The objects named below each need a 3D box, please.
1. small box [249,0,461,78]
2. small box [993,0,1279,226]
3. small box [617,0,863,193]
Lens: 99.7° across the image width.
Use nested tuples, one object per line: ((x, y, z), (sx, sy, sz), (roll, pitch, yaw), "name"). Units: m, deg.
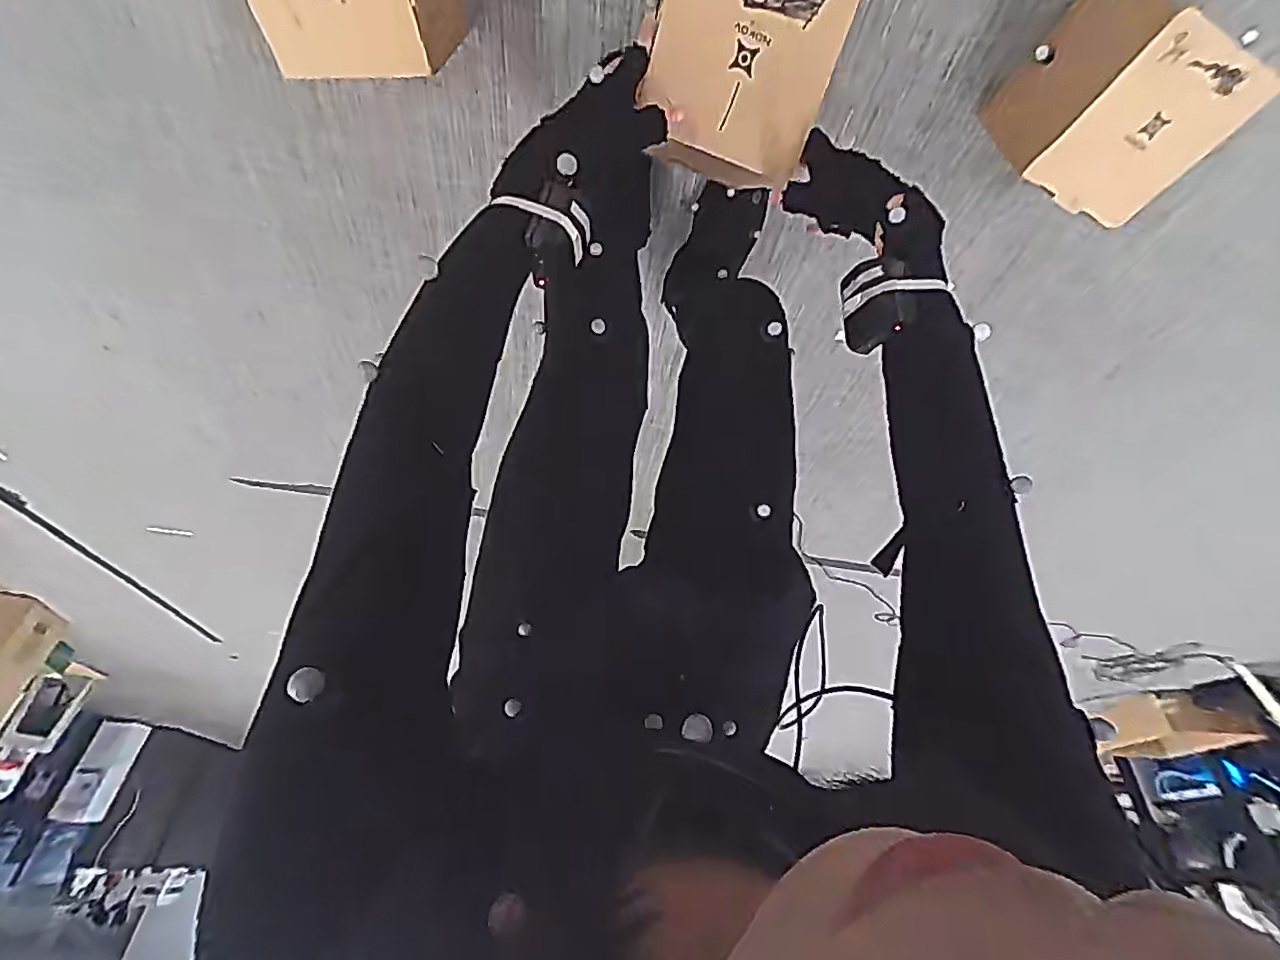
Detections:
((-0.308, -0.560, 0.581), (0.179, 0.176, 0.168), (2, 142, 5), "small box")
((0.559, -0.451, 0.640), (0.168, 0.176, 0.179), (17, 143, -17), "small box")
((0.082, -0.409, 0.539), (0.168, 0.176, 0.179), (13, 113, -16), "small box")
